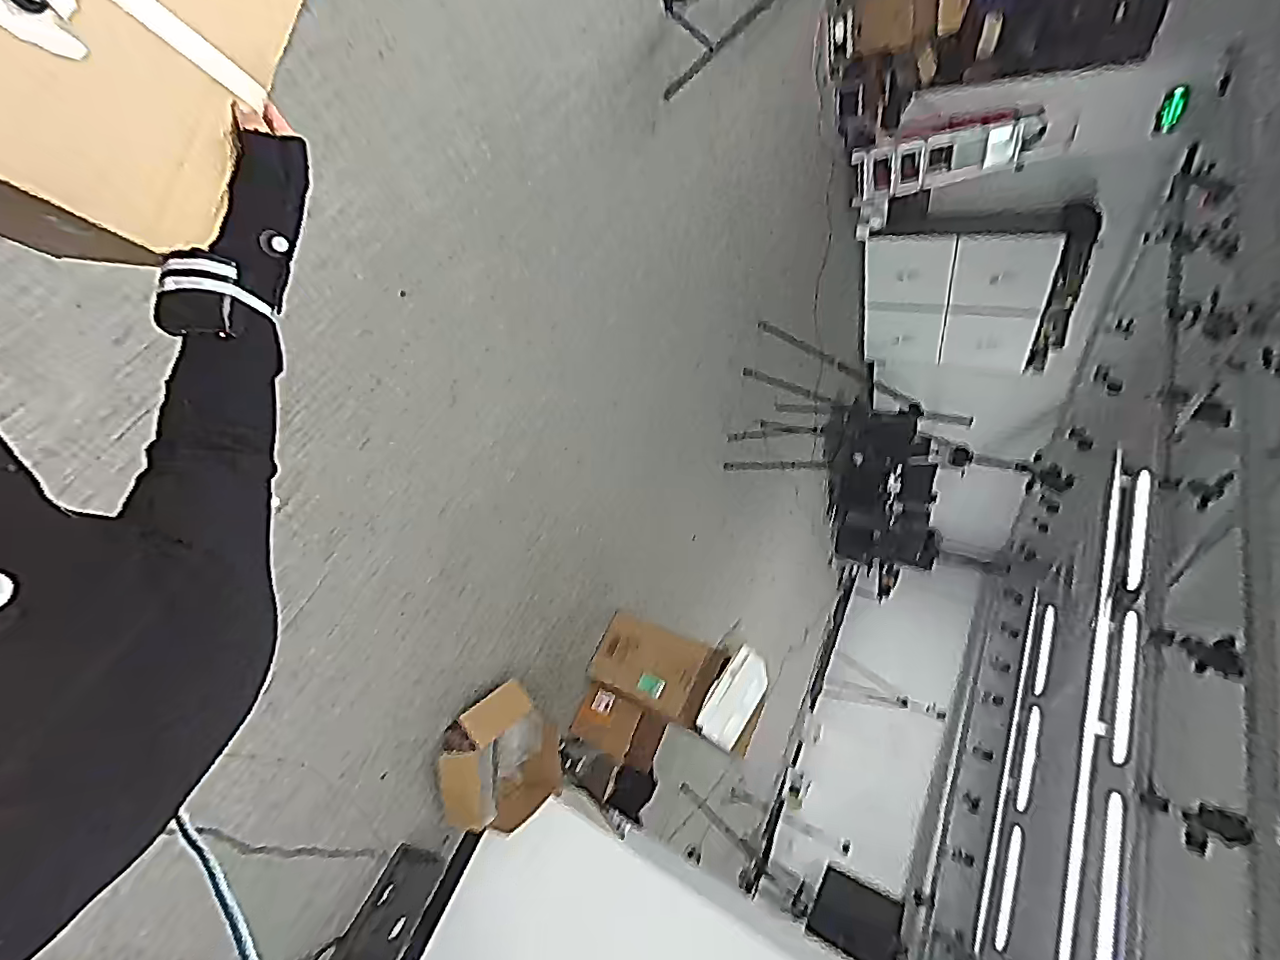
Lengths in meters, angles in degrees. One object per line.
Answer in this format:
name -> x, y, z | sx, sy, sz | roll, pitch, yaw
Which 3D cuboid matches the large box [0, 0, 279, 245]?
large box -> -0.550, -0.405, 0.356 | 0.408, 0.320, 0.320 | 22, 83, -64
